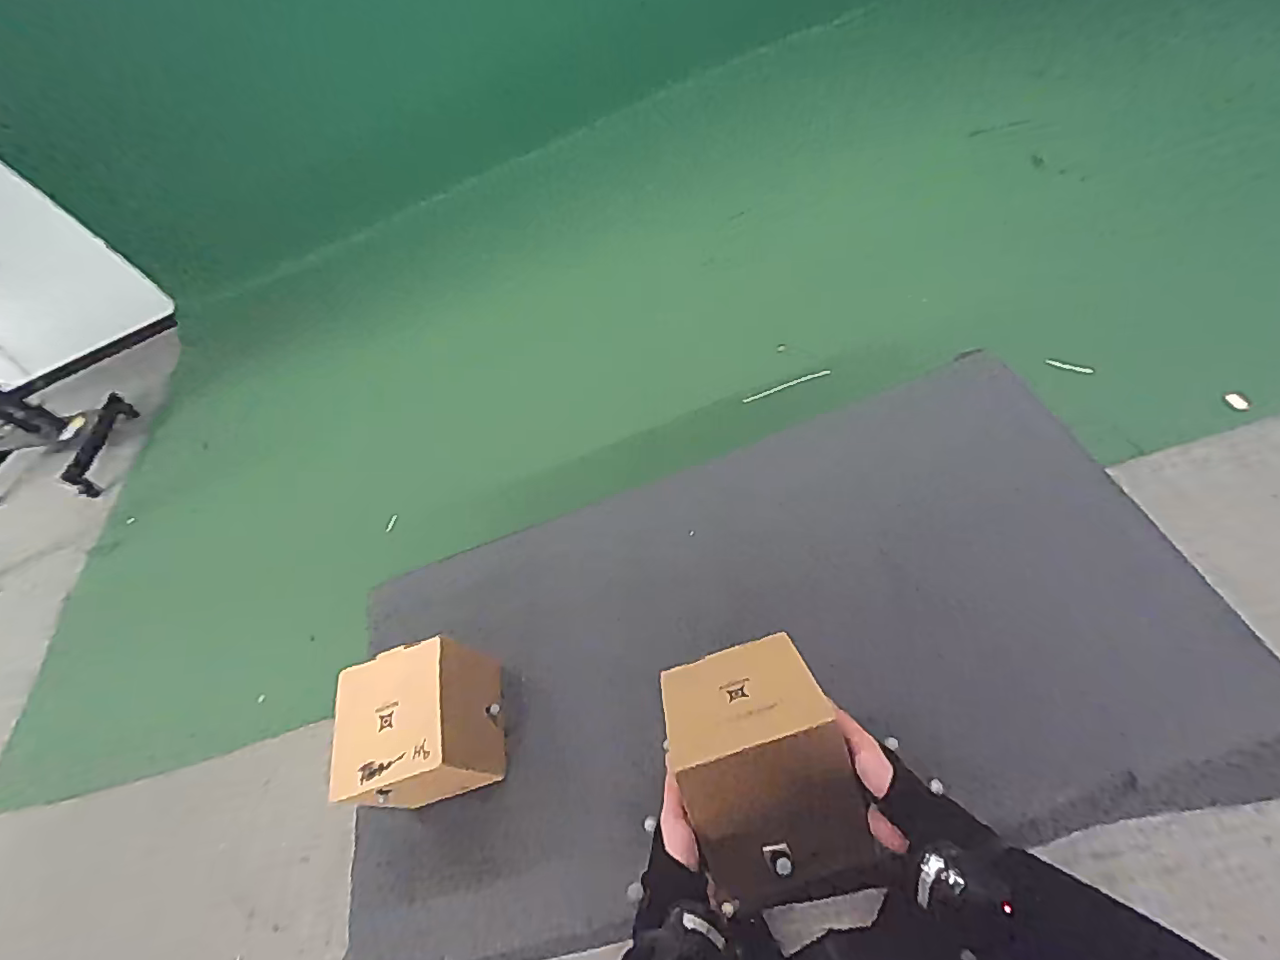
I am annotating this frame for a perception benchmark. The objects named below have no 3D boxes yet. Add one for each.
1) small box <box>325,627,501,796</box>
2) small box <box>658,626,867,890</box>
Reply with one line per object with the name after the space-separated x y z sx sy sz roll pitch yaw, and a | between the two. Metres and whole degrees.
-0.320 0.345 0.793 0.168 0.176 0.179 -21 55 7 | small box
0.126 0.298 0.605 0.168 0.176 0.179 -19 13 2 | small box
